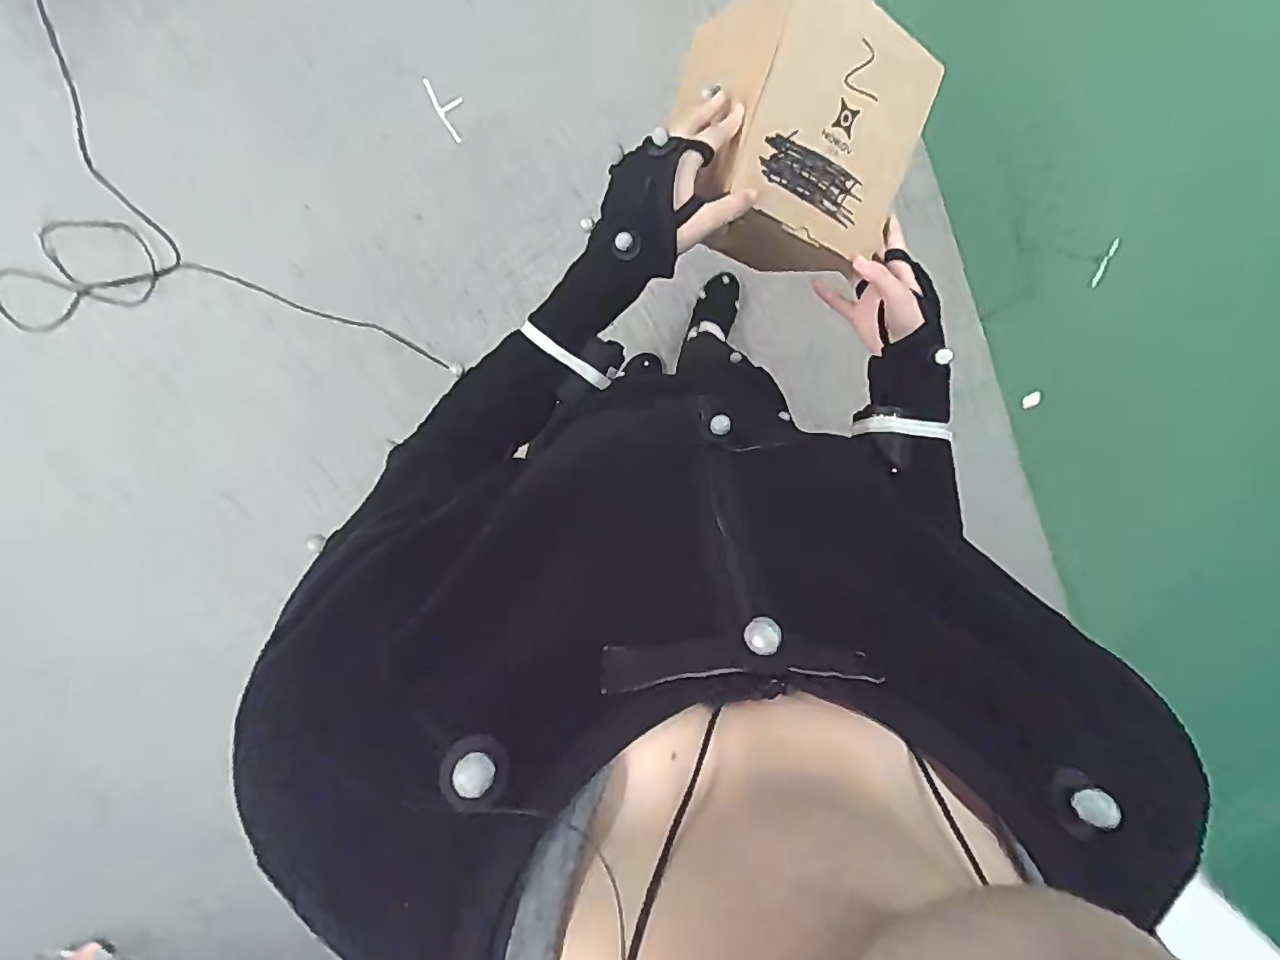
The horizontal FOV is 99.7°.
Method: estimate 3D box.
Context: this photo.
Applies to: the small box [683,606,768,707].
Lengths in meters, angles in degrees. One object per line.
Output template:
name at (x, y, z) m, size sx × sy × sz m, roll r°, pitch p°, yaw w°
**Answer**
small box at (0.233, 0.487, 1.512) m, size 0.168 × 0.176 × 0.179 m, roll -25°, pitch 104°, yaw 3°
